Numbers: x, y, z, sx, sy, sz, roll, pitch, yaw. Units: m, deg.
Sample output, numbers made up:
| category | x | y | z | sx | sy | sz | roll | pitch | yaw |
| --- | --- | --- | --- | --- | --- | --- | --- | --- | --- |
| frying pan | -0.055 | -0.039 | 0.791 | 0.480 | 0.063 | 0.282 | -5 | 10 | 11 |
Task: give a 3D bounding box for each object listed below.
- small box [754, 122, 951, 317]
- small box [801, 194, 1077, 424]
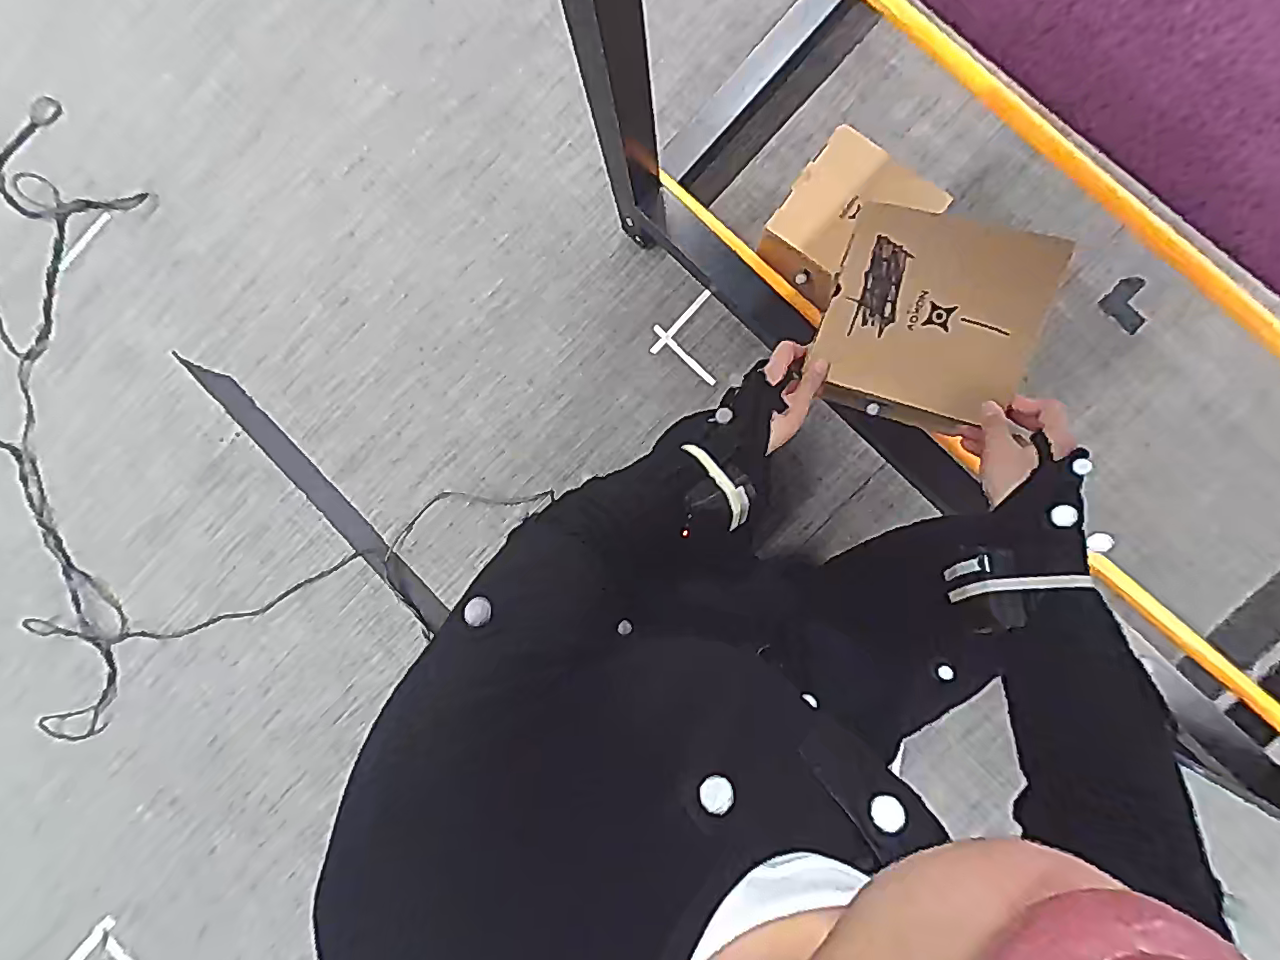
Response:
| category | x | y | z | sx | sy | sz | roll | pitch | yaw |
| --- | --- | --- | --- | --- | --- | --- | --- | --- | --- |
| small box | 0.284 | -0.344 | 0.768 | 0.179 | 0.176 | 0.168 | 37 | 93 | 4 |
| small box | 0.275 | -0.157 | 0.547 | 0.179 | 0.176 | 0.168 | 20 | 99 | 15 |
